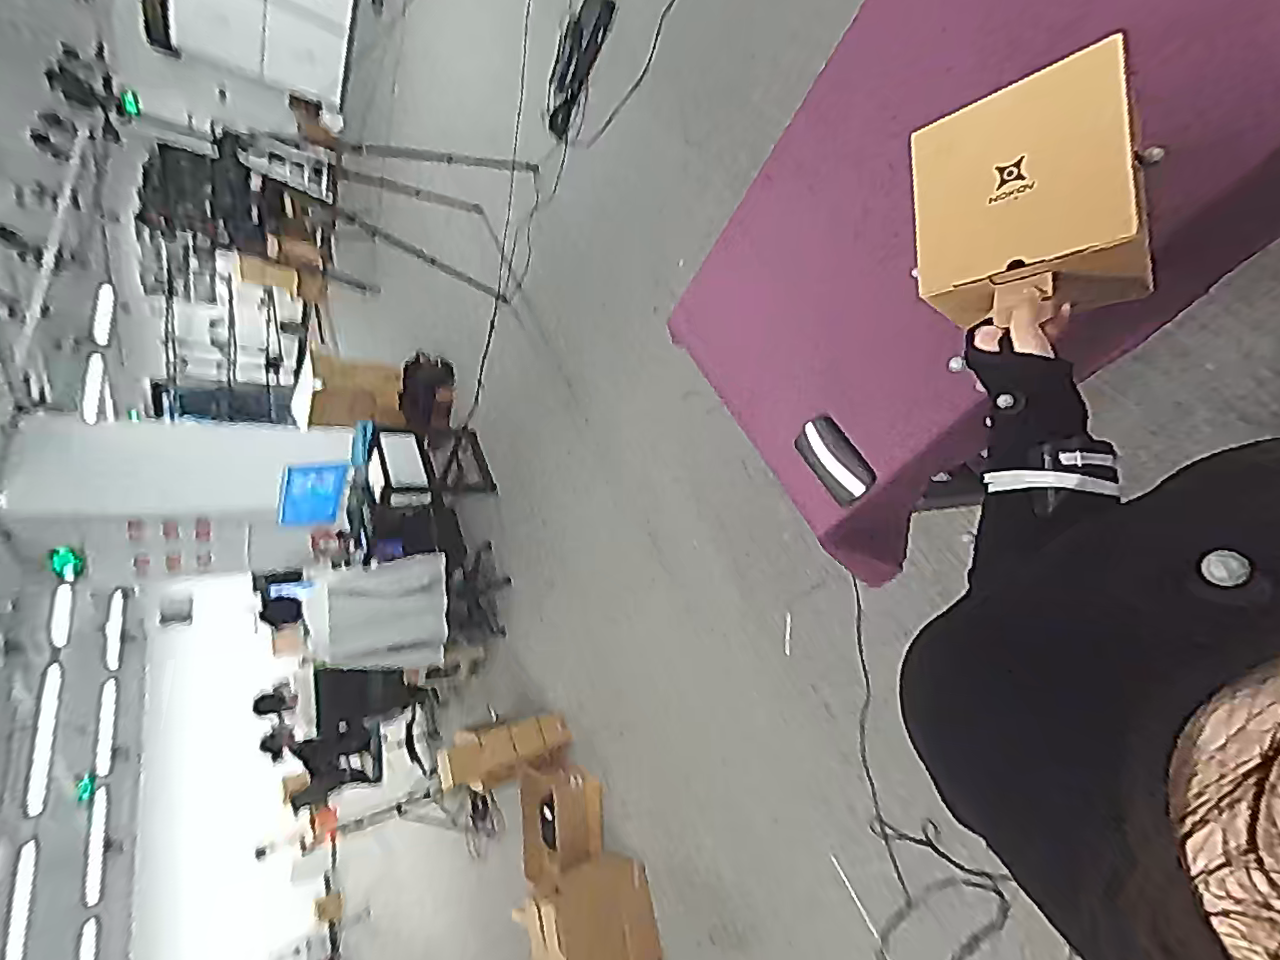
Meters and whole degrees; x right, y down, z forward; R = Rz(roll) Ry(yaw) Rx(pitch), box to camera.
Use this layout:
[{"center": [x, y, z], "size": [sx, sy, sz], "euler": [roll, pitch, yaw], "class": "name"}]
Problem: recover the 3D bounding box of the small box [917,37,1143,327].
[{"center": [0.396, -0.274, 0.550], "size": [0.168, 0.176, 0.179], "euler": [-3, 87, 44], "class": "small box"}]
